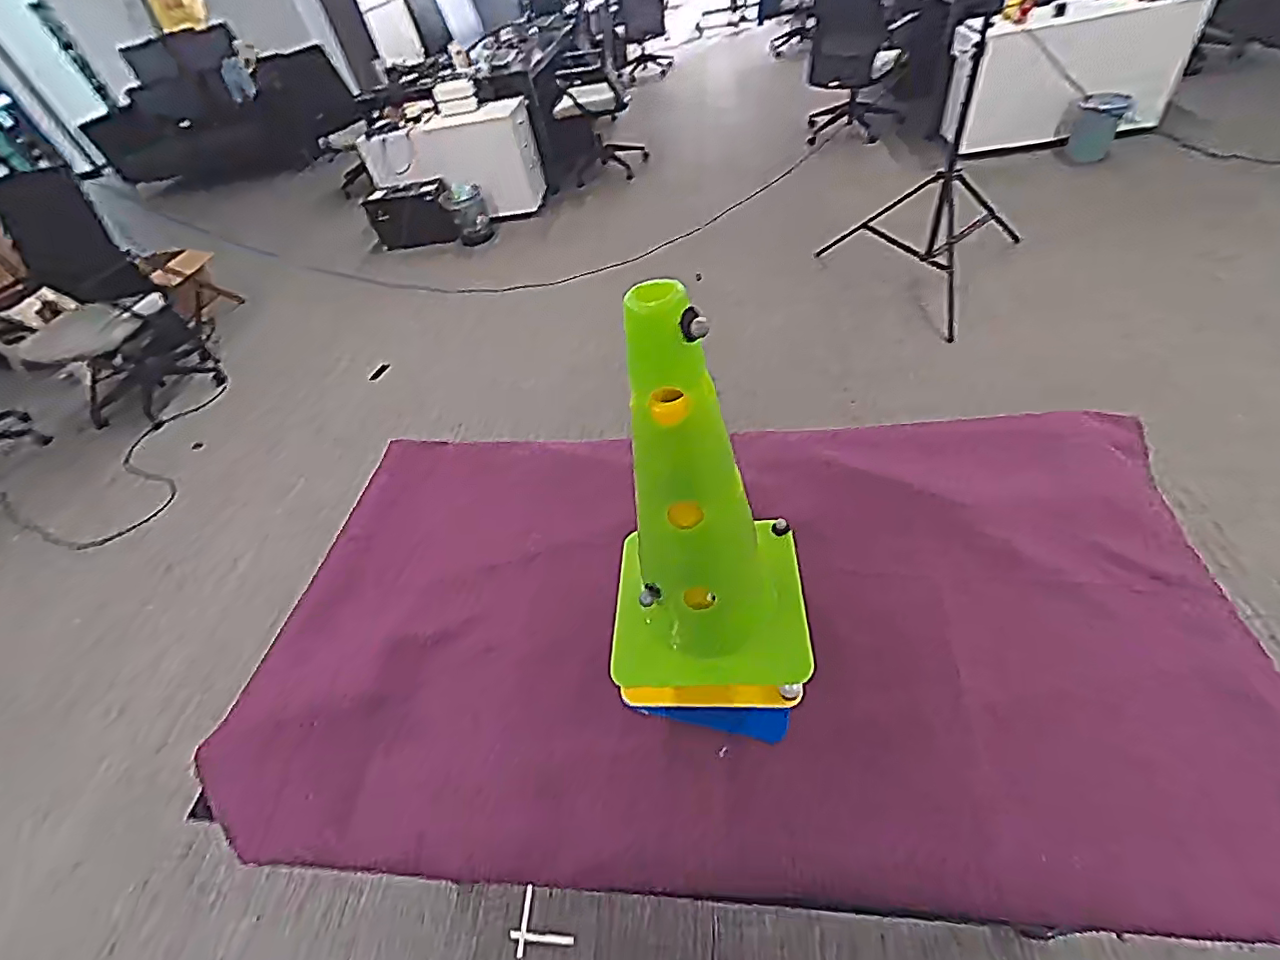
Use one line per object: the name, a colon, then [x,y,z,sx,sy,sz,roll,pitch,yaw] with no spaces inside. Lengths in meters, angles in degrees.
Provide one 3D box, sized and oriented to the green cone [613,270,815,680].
green cone: [0.040,-0.001,0.465,0.200,0.368,0.202,-6,45,10]
